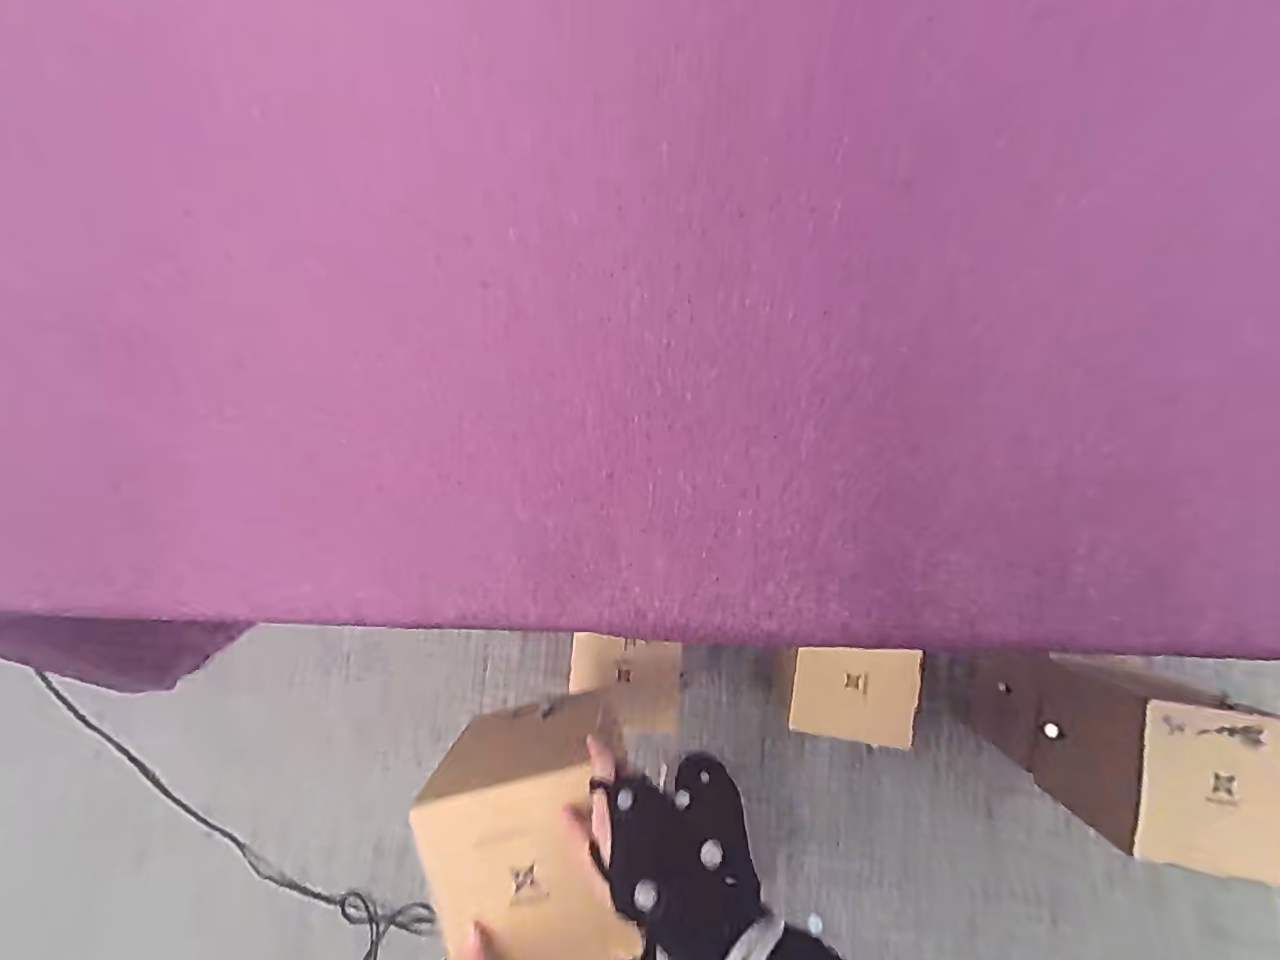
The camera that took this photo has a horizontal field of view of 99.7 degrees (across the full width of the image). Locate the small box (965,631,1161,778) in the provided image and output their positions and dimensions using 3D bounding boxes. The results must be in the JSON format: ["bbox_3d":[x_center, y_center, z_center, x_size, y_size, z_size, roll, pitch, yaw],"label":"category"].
[{"bbox_3d":[0.632,0.348,0.828,0.168,0.176,0.179,13,86,6],"label":"small box"}]

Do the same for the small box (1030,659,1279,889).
[{"bbox_3d":[0.620,0.341,0.663,0.168,0.176,0.179,9,88,4],"label":"small box"}]

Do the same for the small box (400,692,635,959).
[{"bbox_3d":[-0.102,0.341,0.534,0.168,0.176,0.179,-13,92,1],"label":"small box"}]
